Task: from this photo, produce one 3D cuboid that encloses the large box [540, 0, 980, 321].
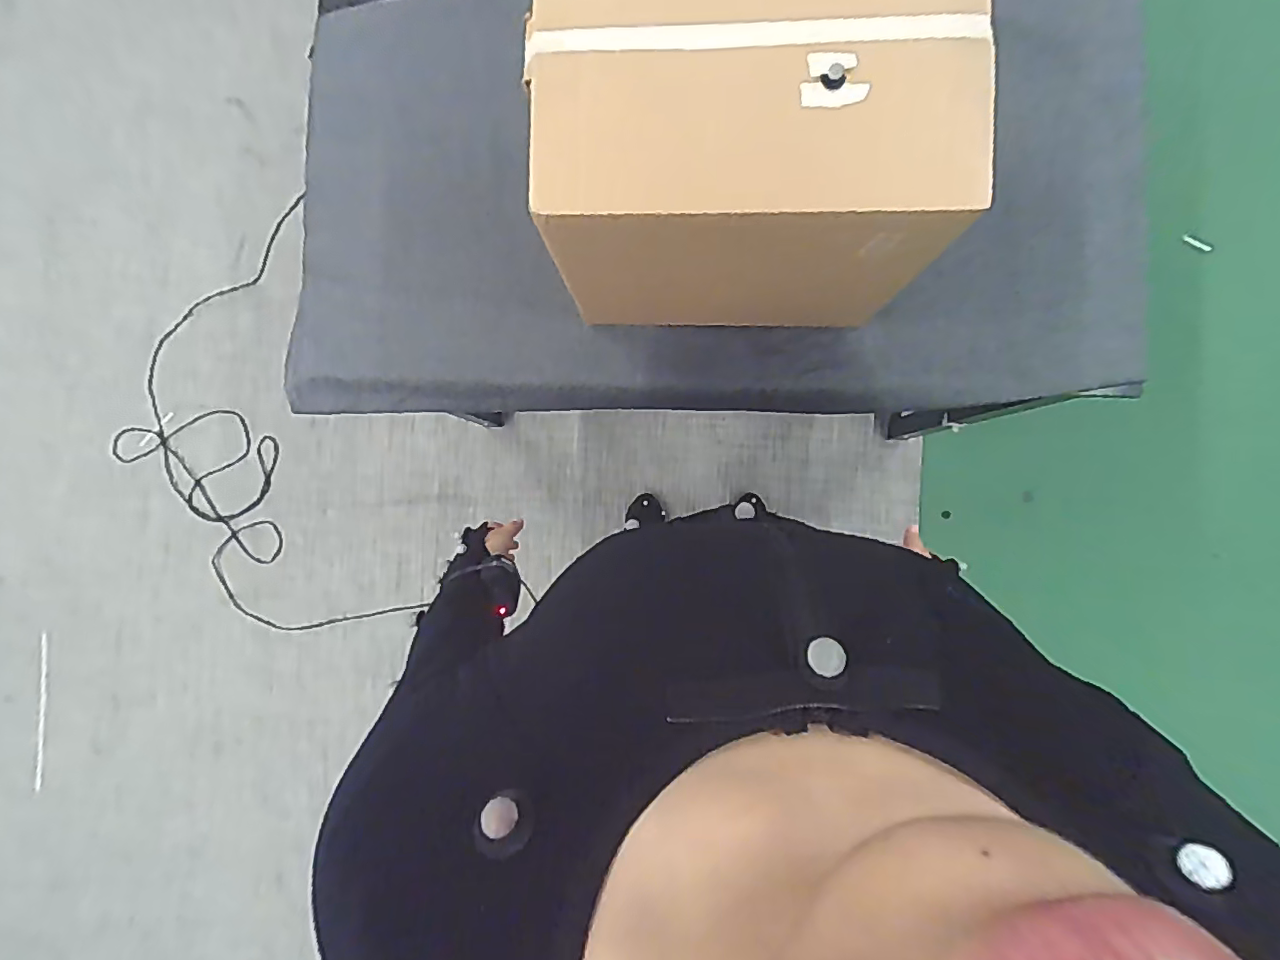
[{"bbox_3d":[0.112,-0.393,0.644,0.408,0.320,0.320,1,89,3],"label":"large box"}]
